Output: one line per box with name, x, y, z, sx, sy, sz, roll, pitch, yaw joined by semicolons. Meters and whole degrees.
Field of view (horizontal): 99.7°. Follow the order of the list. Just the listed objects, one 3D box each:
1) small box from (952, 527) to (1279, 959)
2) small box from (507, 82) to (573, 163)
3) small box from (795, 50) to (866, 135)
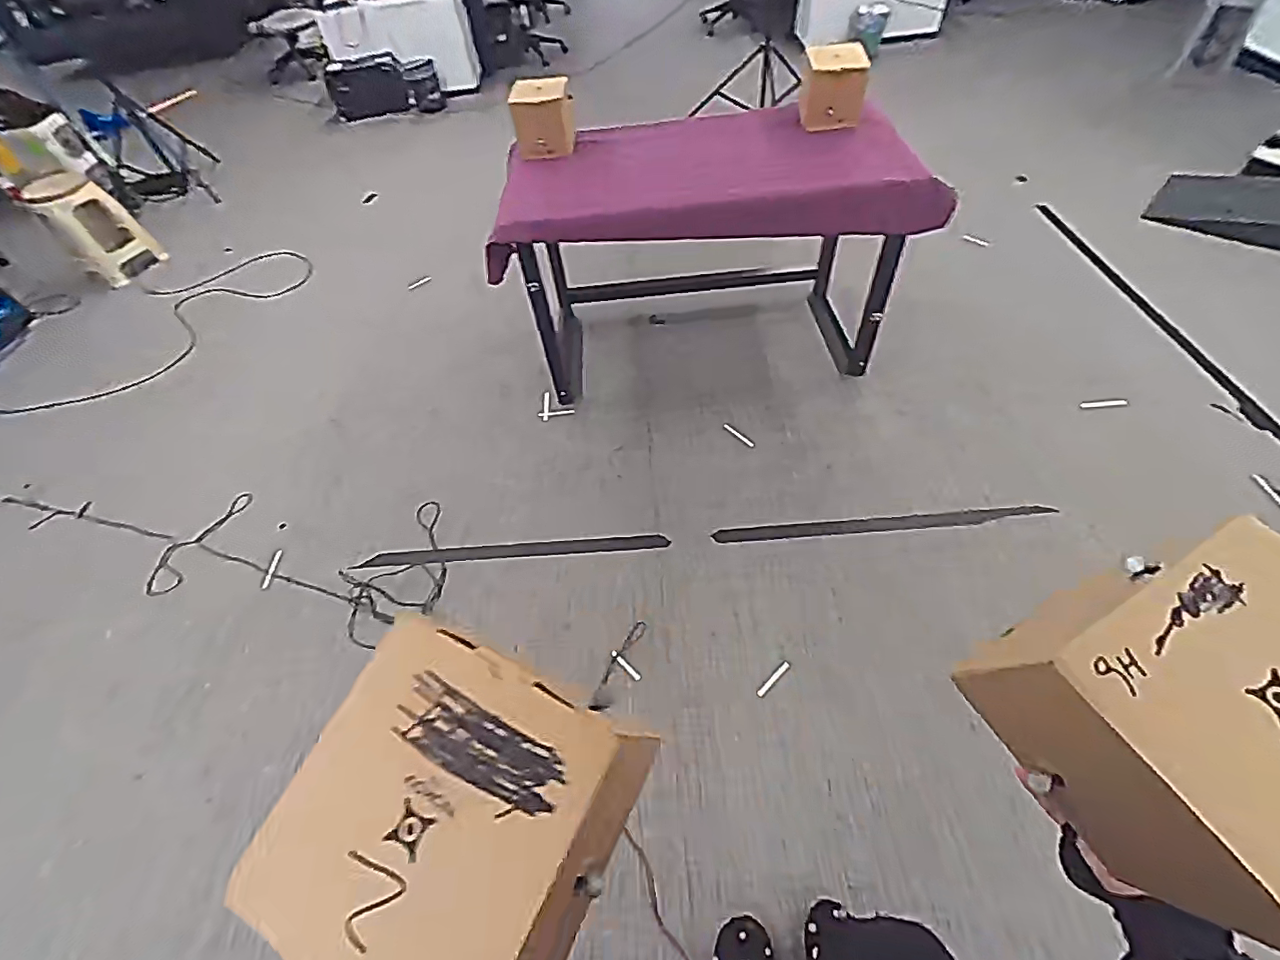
small box;0.367;0.164;0.373;0.168;0.176;0.179;-32;67;-6
small box;-0.317;-1.159;1.755;0.168;0.176;0.179;-2;55;5
small box;0.596;-1.225;1.712;0.168;0.176;0.179;-2;57;5
